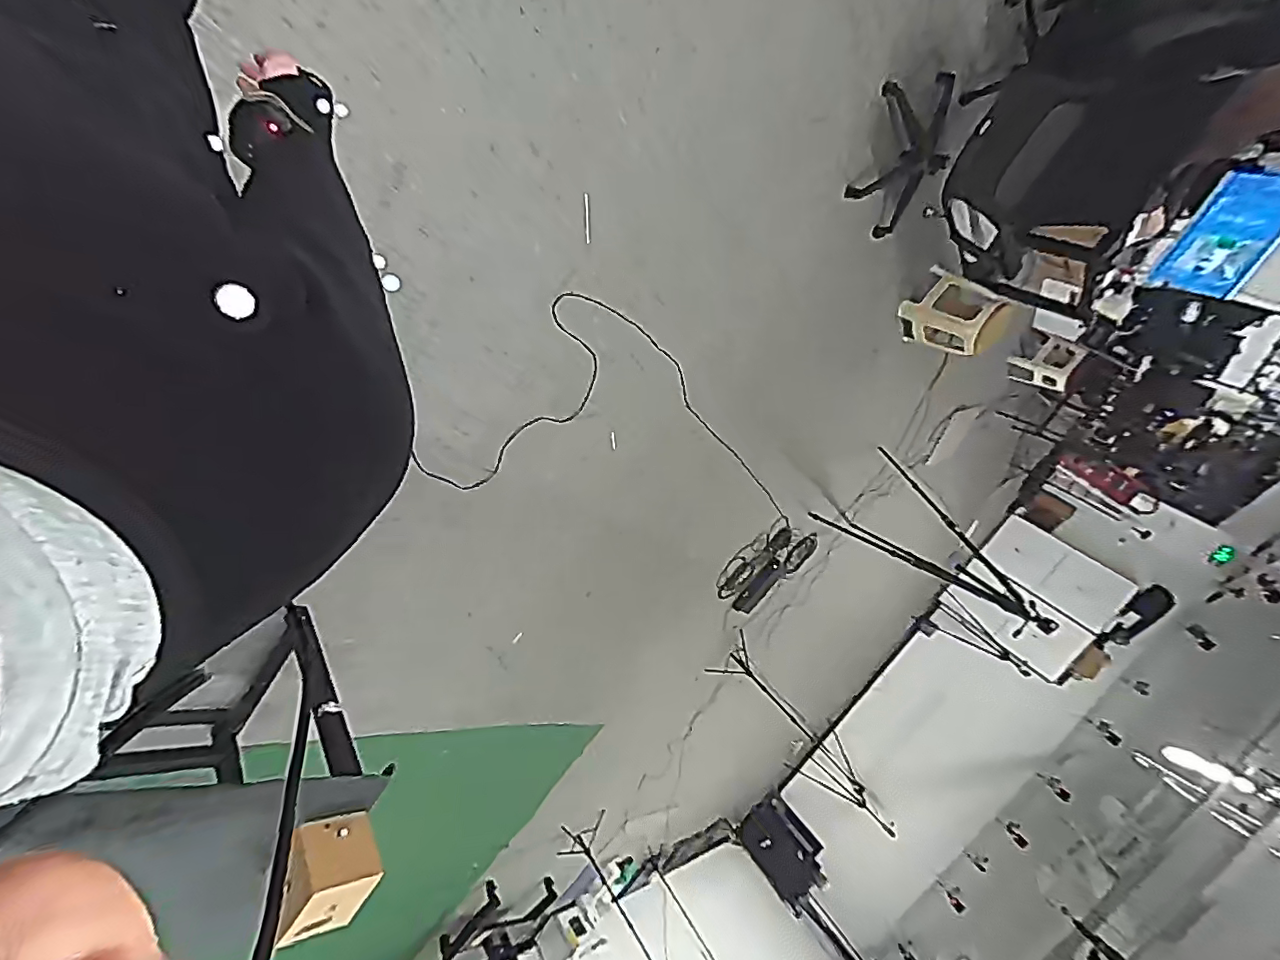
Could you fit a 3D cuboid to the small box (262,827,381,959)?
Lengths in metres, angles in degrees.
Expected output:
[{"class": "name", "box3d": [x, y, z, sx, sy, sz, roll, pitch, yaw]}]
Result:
[{"class": "small box", "box3d": [-0.742, 0.953, 1.251, 0.179, 0.176, 0.168, -55, 142, 6]}]
